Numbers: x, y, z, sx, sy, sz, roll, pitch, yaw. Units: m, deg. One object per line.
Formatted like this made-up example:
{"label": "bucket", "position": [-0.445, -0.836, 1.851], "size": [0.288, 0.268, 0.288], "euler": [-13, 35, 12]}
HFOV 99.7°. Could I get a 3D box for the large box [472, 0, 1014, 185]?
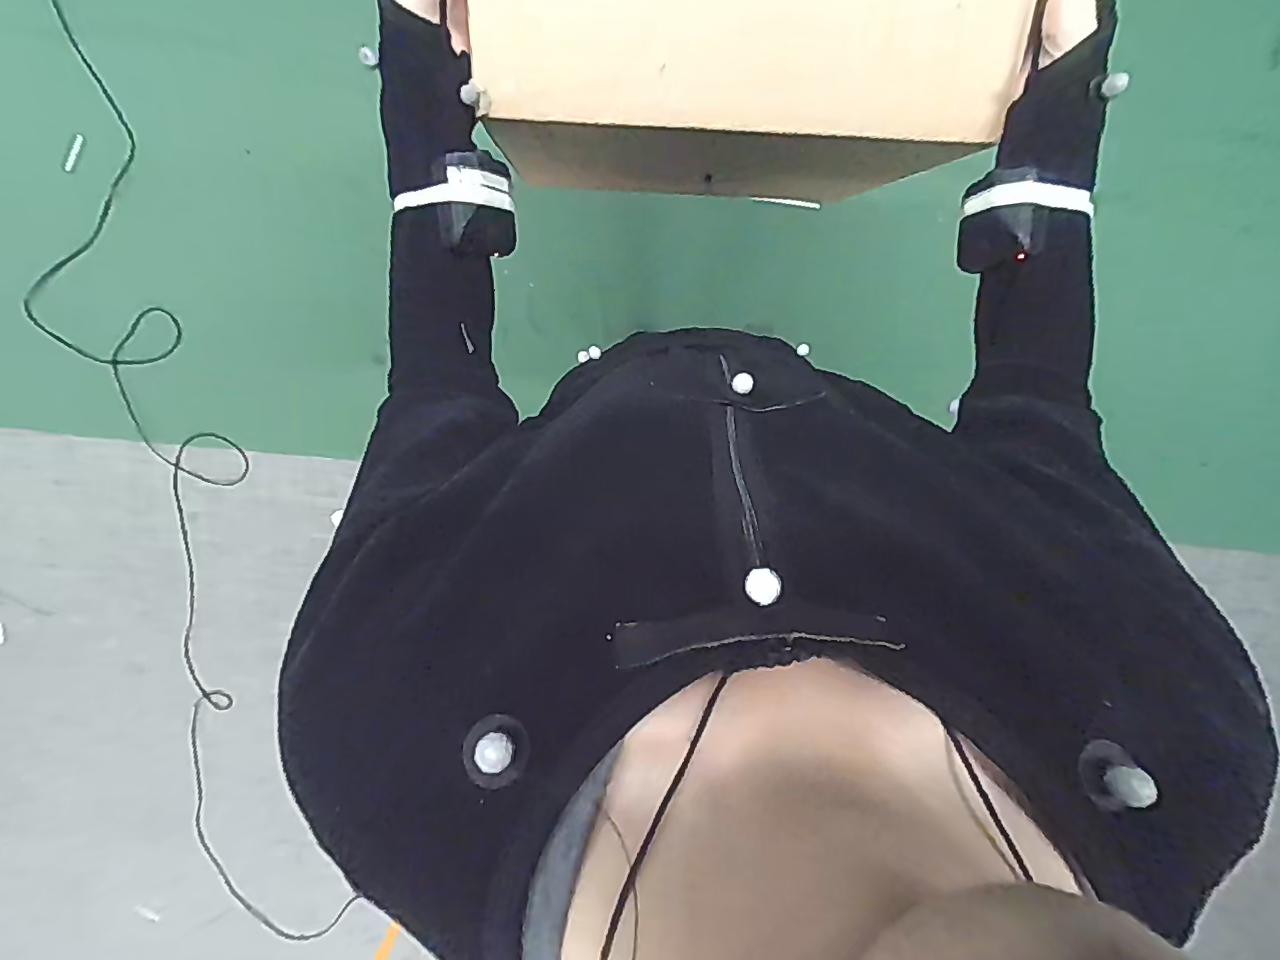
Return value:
{"label": "large box", "position": [0.074, -0.469, 0.503], "size": [0.408, 0.320, 0.320], "euler": [0, 110, -3]}
